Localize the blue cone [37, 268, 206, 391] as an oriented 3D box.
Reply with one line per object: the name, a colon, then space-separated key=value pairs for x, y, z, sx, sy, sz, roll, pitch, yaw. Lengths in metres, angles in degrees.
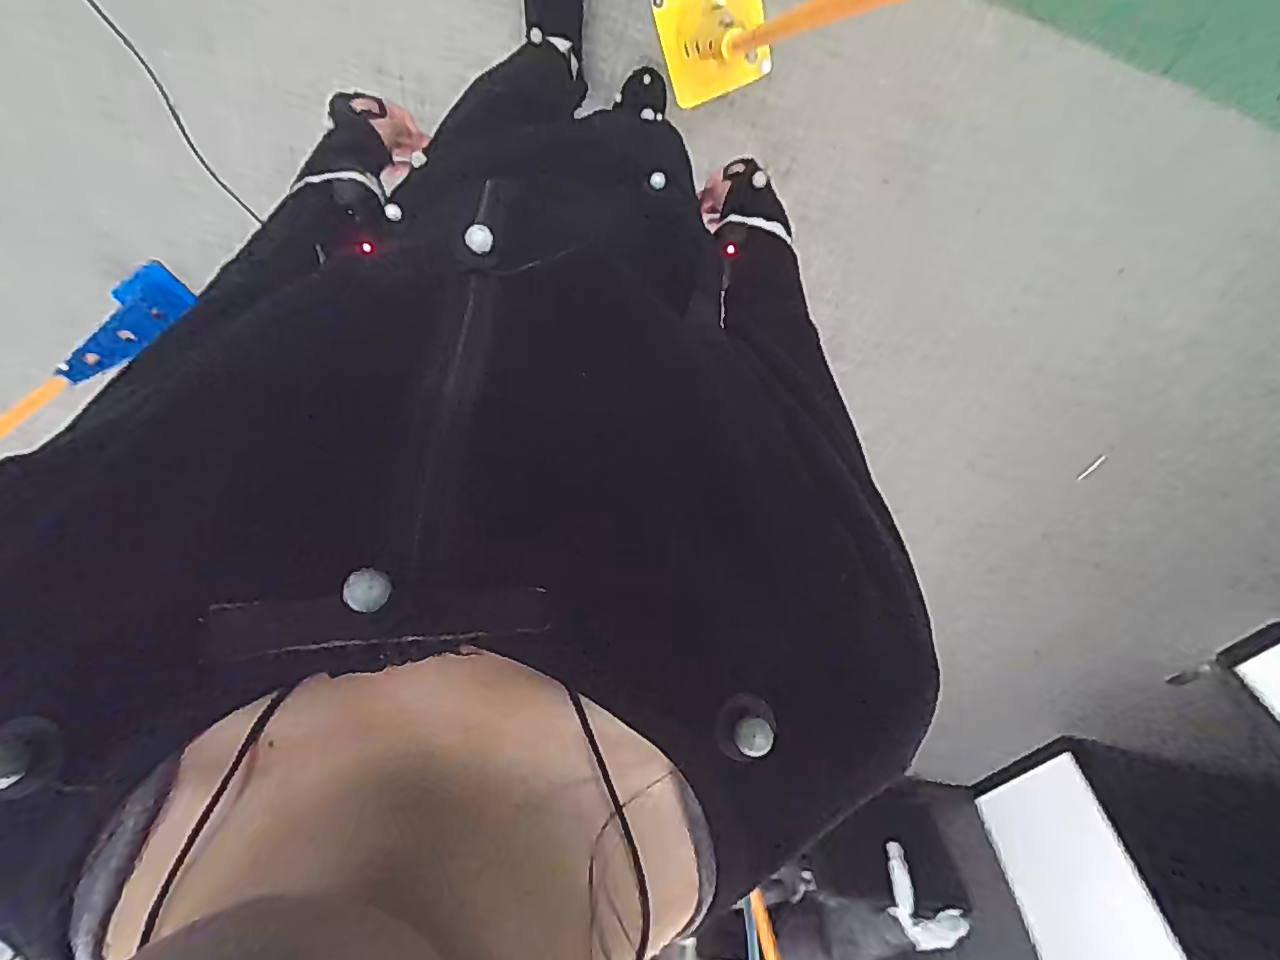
blue cone: x=-1.283 y=-0.332 z=1.317 sx=0.193 sy=0.380 sz=0.192 roll=-20 pitch=130 yaw=21
